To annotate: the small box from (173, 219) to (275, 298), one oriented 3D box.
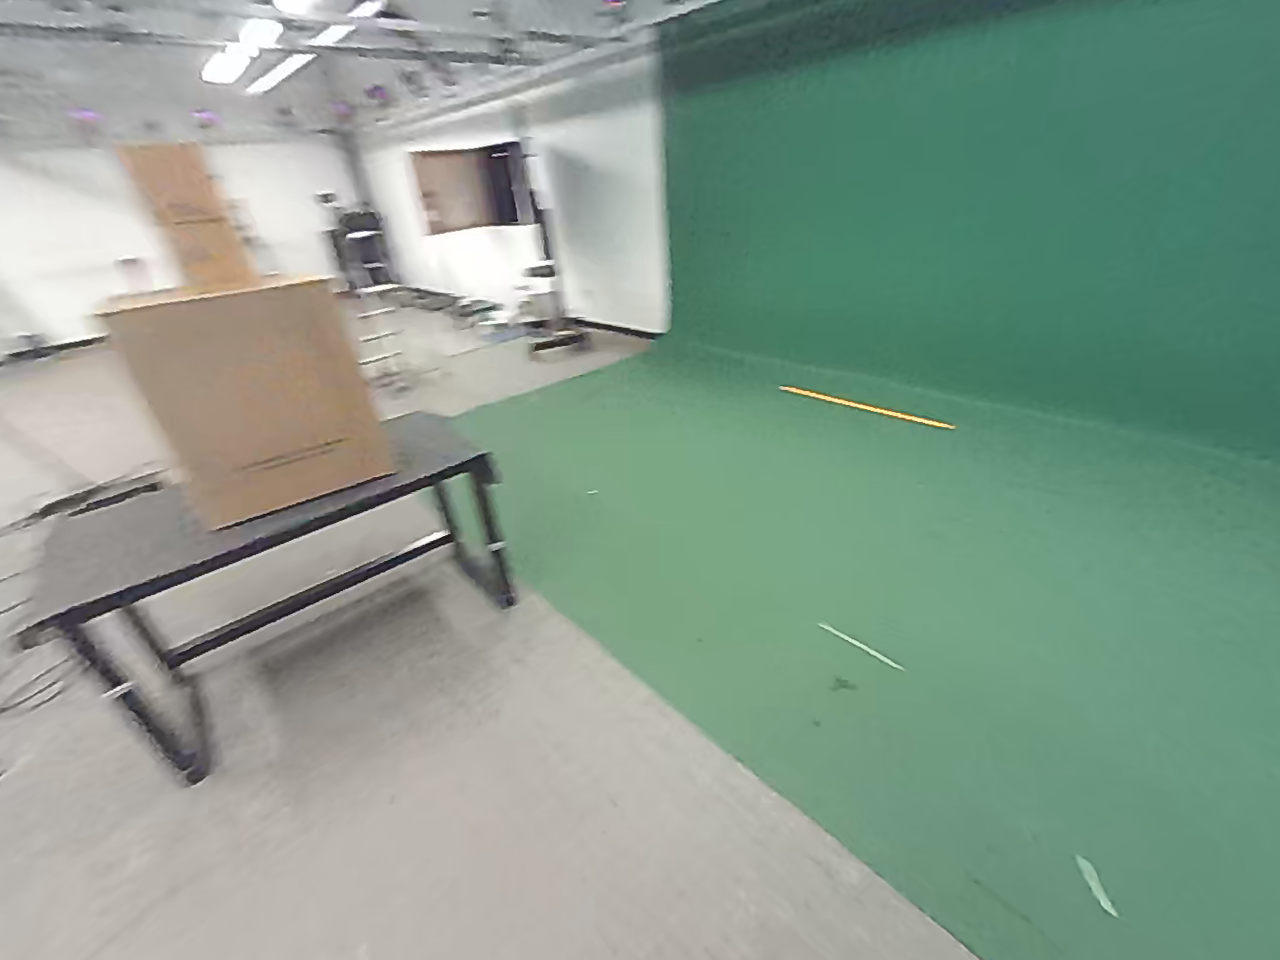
[{"bbox_3d":[-1.104,-0.594,1.451,0.168,0.176,0.179,-19,34,-24],"label":"small box"}]
